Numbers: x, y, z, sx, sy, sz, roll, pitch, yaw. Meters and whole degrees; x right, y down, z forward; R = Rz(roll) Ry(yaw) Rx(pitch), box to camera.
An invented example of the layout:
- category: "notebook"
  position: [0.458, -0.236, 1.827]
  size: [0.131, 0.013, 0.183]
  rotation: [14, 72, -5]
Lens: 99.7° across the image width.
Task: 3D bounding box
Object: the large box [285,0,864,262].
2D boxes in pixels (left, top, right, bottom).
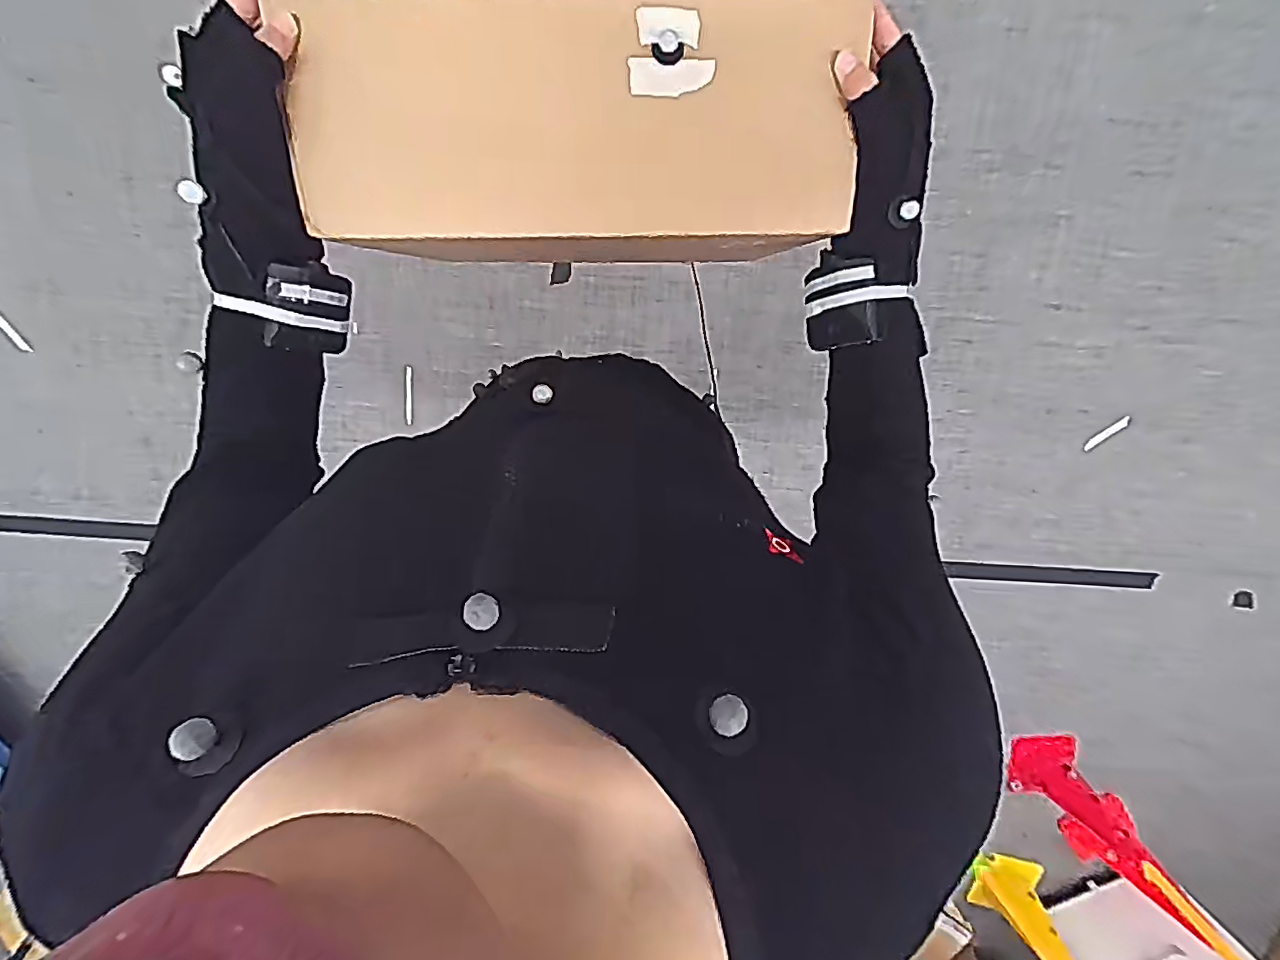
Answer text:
- category: "large box"
  position: [-0.048, -0.387, 0.507]
  size: [0.408, 0.320, 0.320]
  rotation: [-1, 109, -1]
